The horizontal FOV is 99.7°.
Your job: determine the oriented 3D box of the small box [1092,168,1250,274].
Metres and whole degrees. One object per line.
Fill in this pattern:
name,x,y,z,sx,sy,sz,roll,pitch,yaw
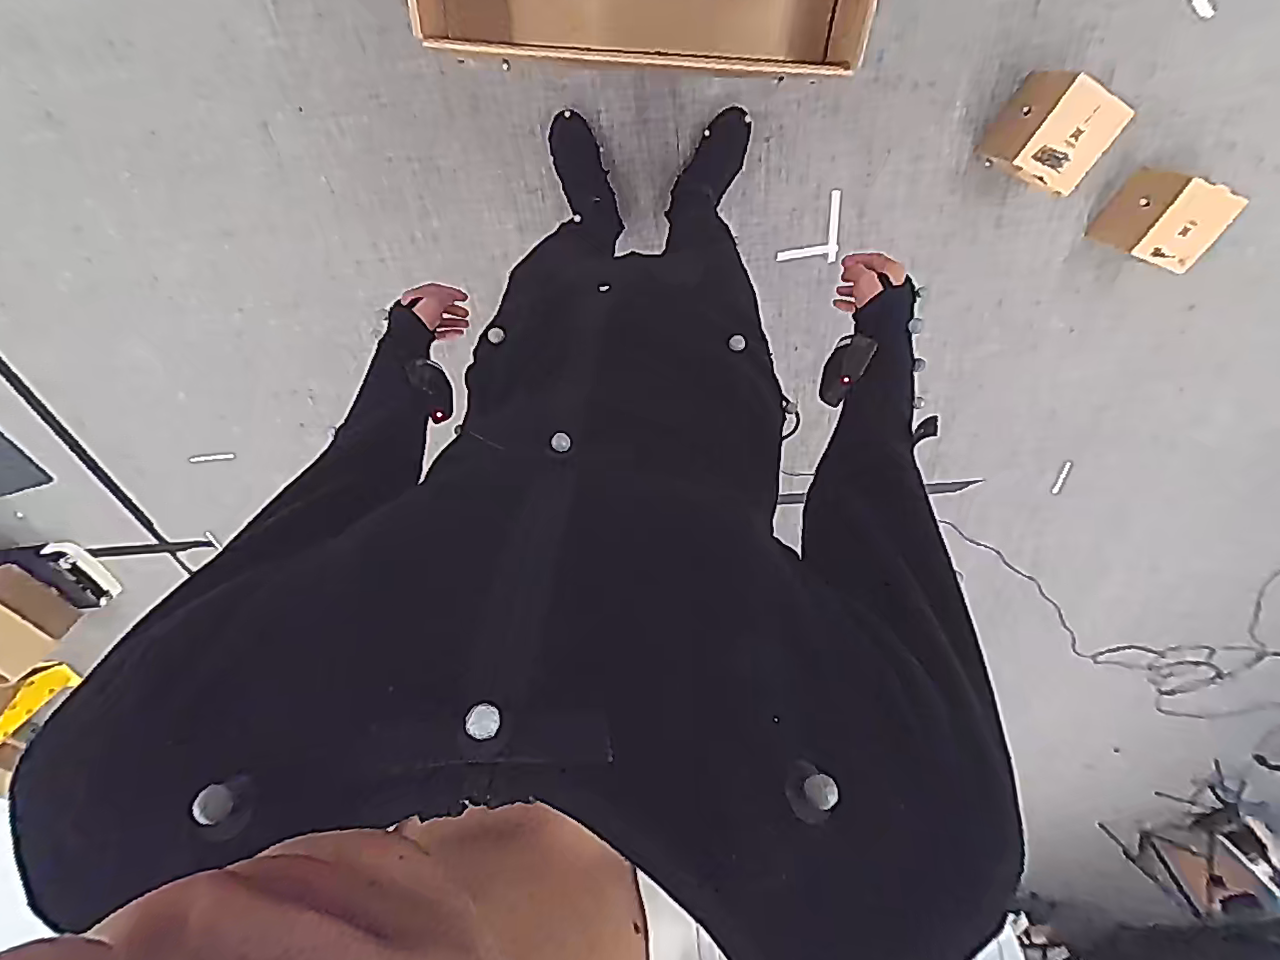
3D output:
small box,1.264,-0.629,1.304,0.168,0.176,0.179,15,125,-11

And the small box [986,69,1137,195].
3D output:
small box,0.910,-0.769,1.195,0.168,0.176,0.179,20,125,-15

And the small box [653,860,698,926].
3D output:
small box,0.136,1.628,2.129,0.168,0.176,0.179,0,126,-1
